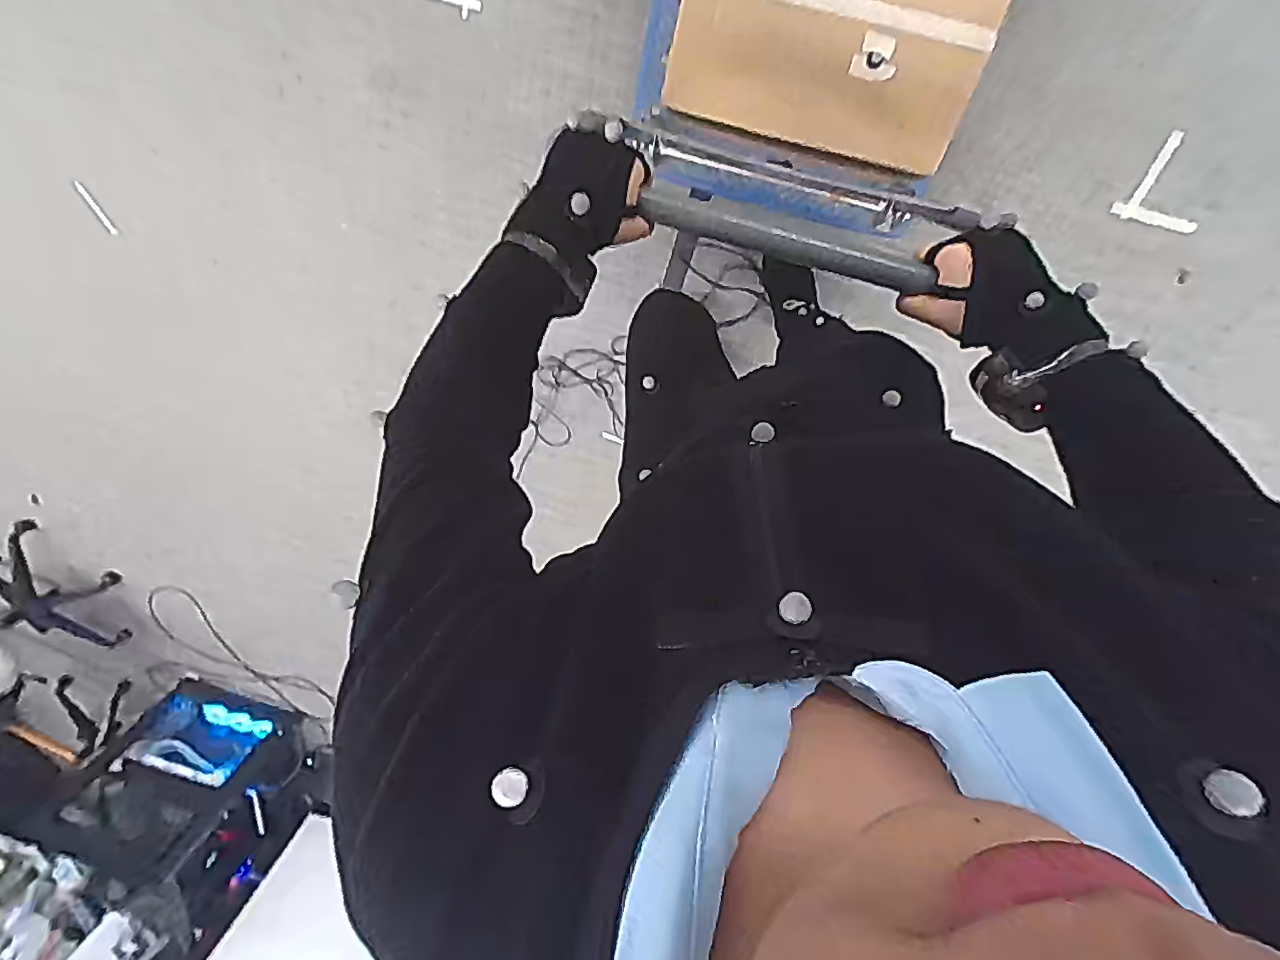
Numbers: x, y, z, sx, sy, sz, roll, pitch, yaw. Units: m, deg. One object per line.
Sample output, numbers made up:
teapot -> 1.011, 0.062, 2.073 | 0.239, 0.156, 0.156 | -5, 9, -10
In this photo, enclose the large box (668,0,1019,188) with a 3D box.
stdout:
large box -> 0.280, -0.659, 0.819 | 0.408, 0.320, 0.320 | 16, 120, 1
